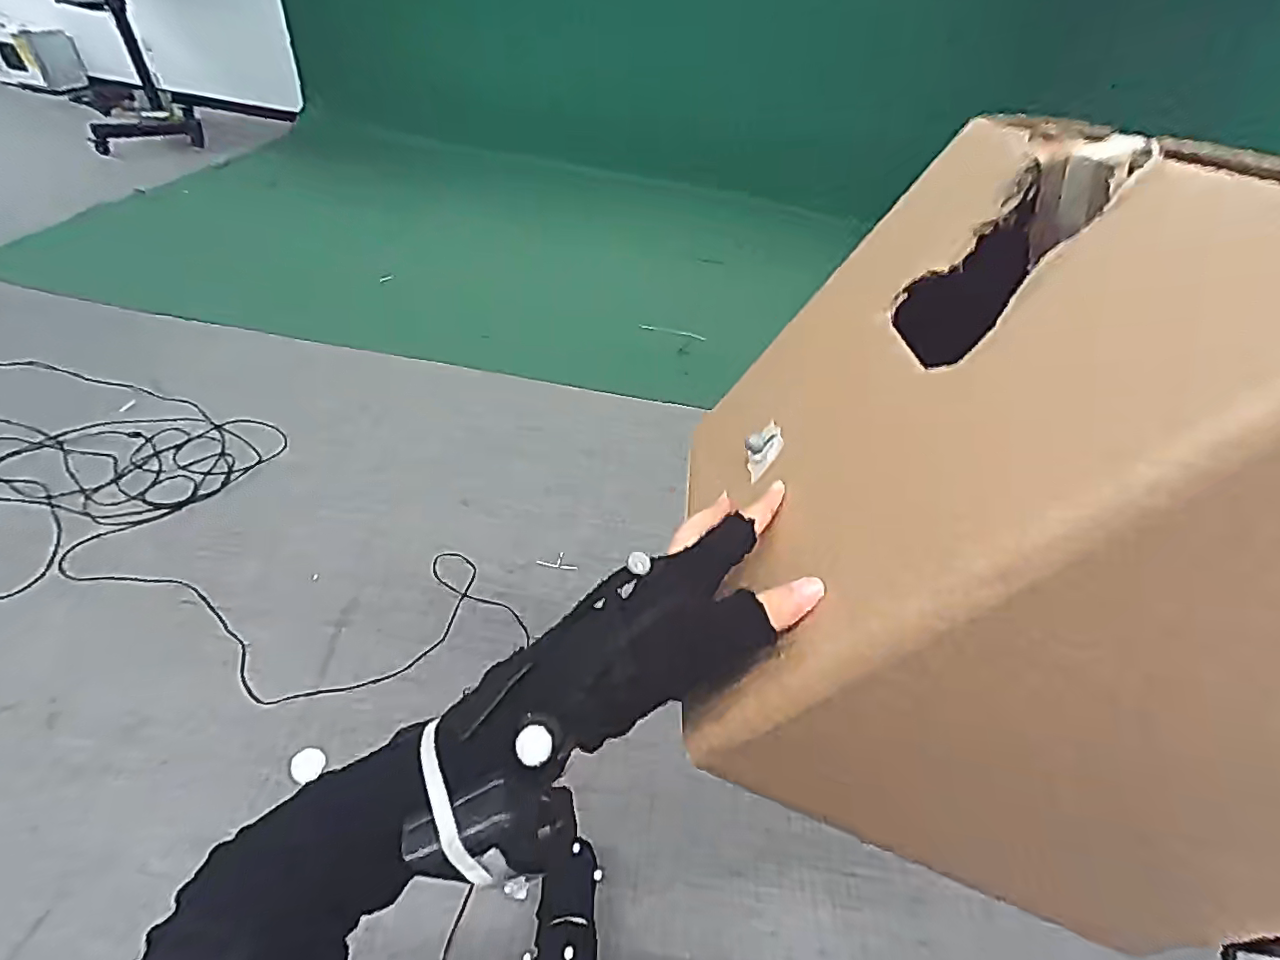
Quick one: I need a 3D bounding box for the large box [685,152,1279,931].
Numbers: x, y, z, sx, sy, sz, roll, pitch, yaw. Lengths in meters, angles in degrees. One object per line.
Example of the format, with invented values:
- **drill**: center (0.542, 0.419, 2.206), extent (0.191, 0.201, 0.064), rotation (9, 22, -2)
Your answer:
- **large box**: center (0.279, 0.055, 0.383), extent (0.408, 0.320, 0.320), rotation (31, 35, -16)
